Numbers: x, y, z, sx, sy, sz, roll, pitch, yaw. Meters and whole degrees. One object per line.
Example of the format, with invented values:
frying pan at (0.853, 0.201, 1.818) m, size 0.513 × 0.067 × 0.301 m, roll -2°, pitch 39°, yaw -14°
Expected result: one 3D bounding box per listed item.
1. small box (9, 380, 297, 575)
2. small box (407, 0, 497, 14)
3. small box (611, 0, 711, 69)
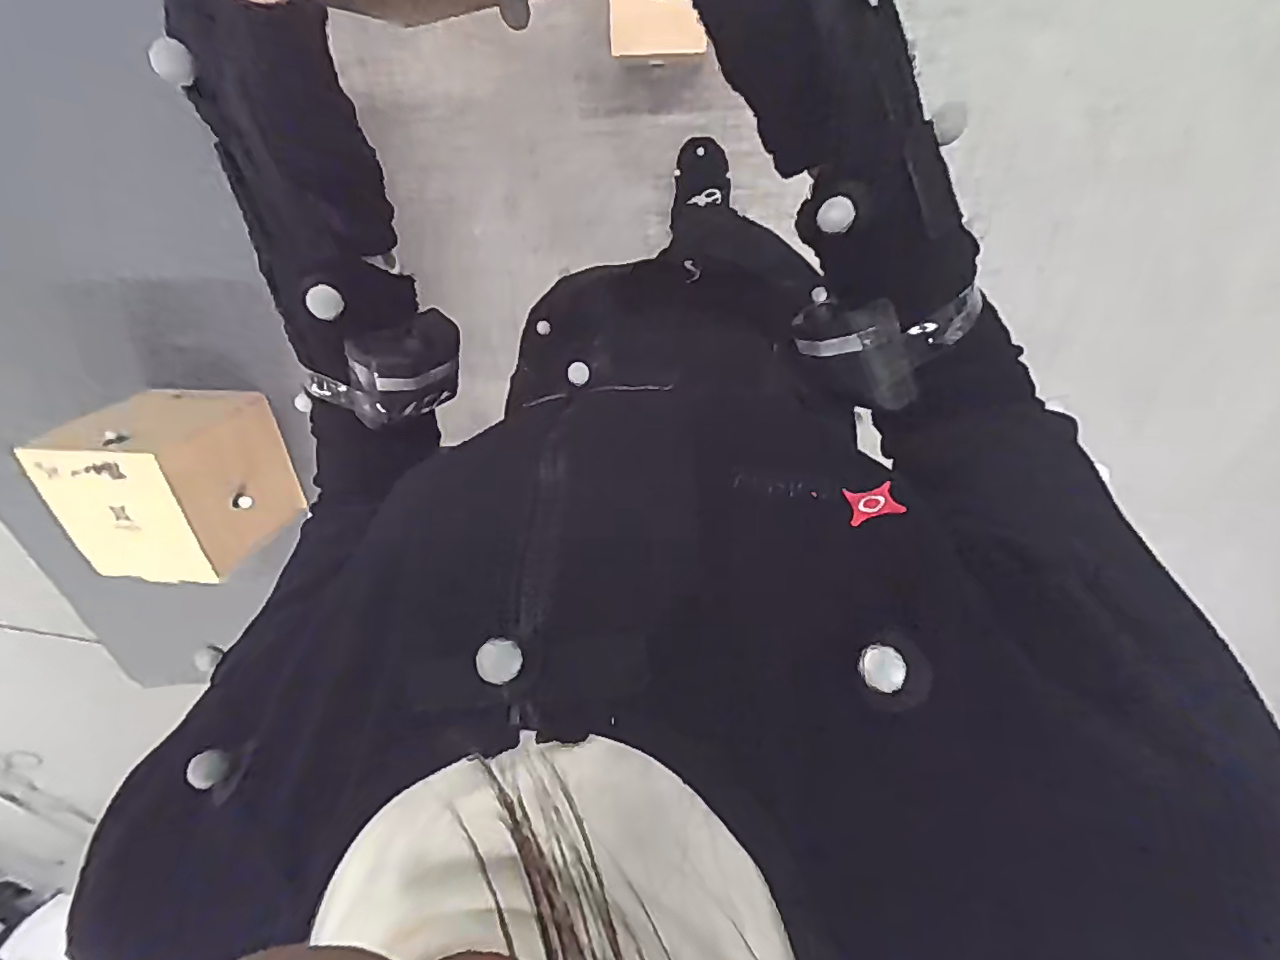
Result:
small box at (-0.569, -0.008, 0.667) m, size 0.168 × 0.176 × 0.179 m, roll 3°, pitch 122°, yaw 5°
small box at (-0.071, -0.301, 0.191) m, size 0.168 × 0.176 × 0.179 m, roll -5°, pitch 125°, yaw 7°
small box at (0.040, -0.841, 0.950) m, size 0.168 × 0.176 × 0.179 m, roll 3°, pitch 123°, yaw 5°
